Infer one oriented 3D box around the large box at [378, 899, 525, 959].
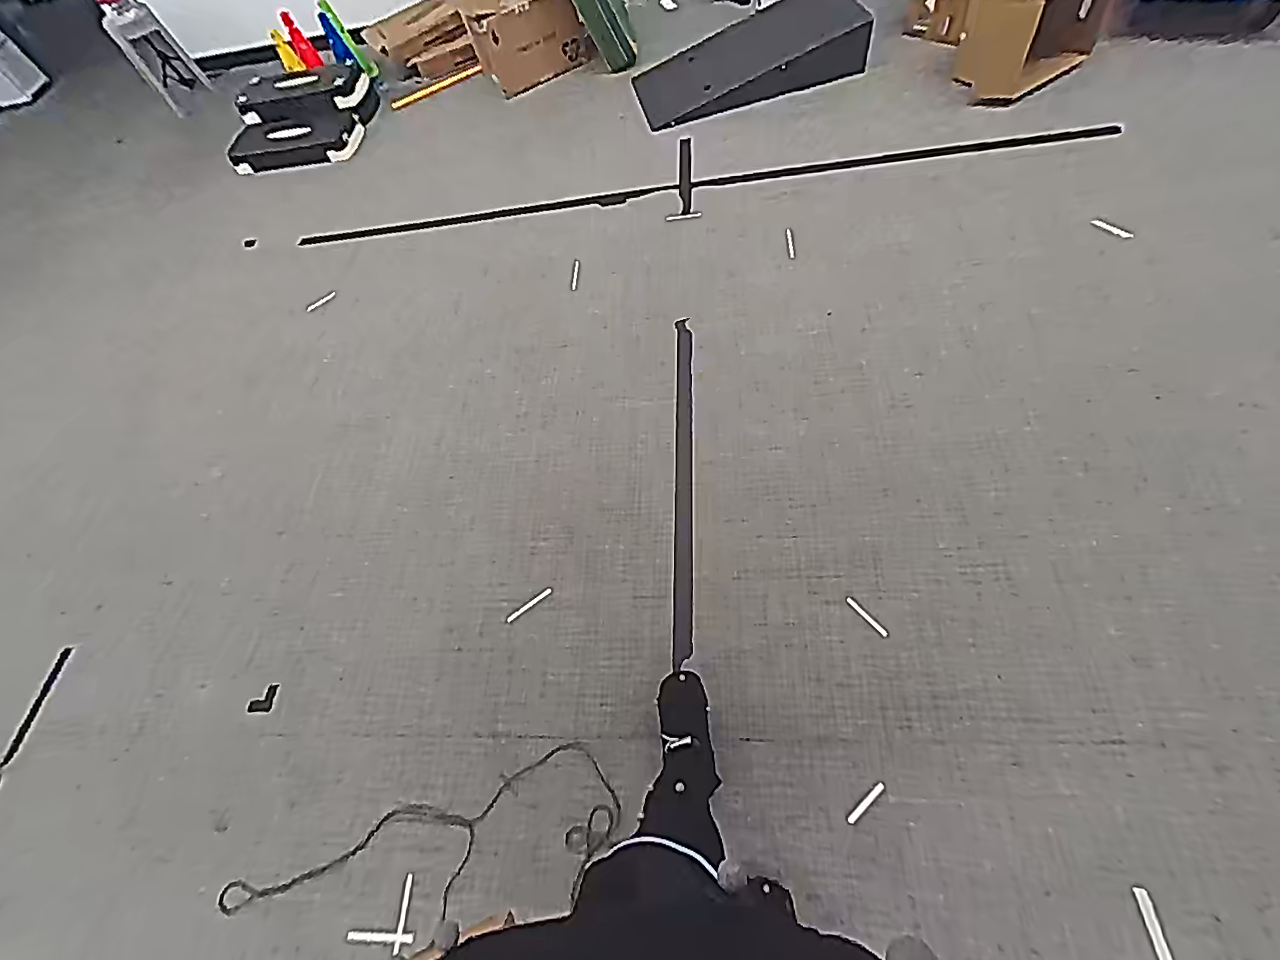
[{"bbox_3d":[-0.202,0.630,0.378,0.320,0.320,0.408,-20,70,-13],"label":"large box"}]
